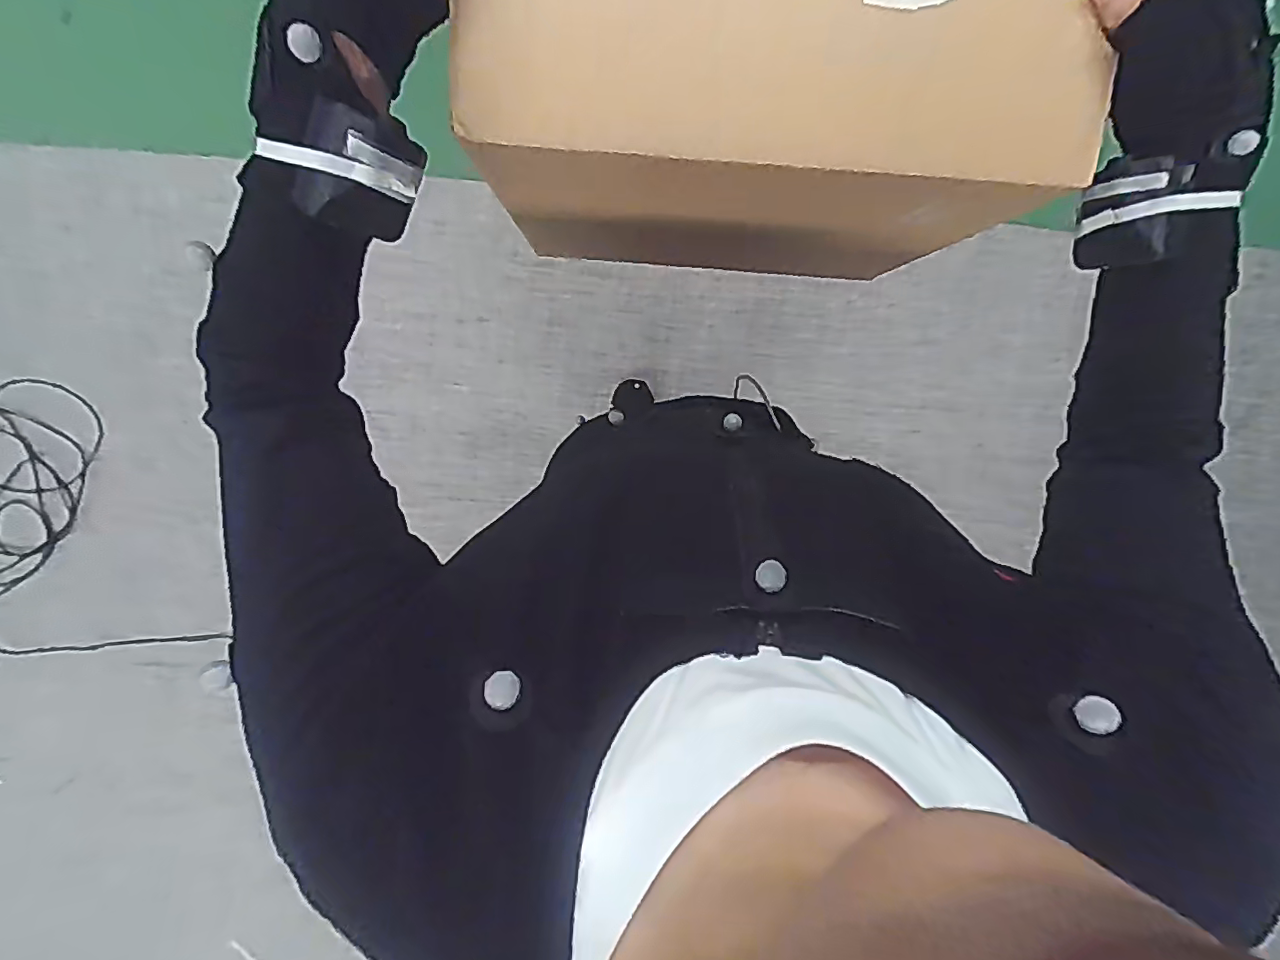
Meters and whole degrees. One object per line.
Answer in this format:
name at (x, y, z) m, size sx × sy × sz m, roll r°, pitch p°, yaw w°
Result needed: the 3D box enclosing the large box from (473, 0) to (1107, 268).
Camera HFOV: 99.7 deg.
large box at (0.093, -0.384, 0.473) m, size 0.408 × 0.320 × 0.320 m, roll 3°, pitch 101°, yaw -2°
